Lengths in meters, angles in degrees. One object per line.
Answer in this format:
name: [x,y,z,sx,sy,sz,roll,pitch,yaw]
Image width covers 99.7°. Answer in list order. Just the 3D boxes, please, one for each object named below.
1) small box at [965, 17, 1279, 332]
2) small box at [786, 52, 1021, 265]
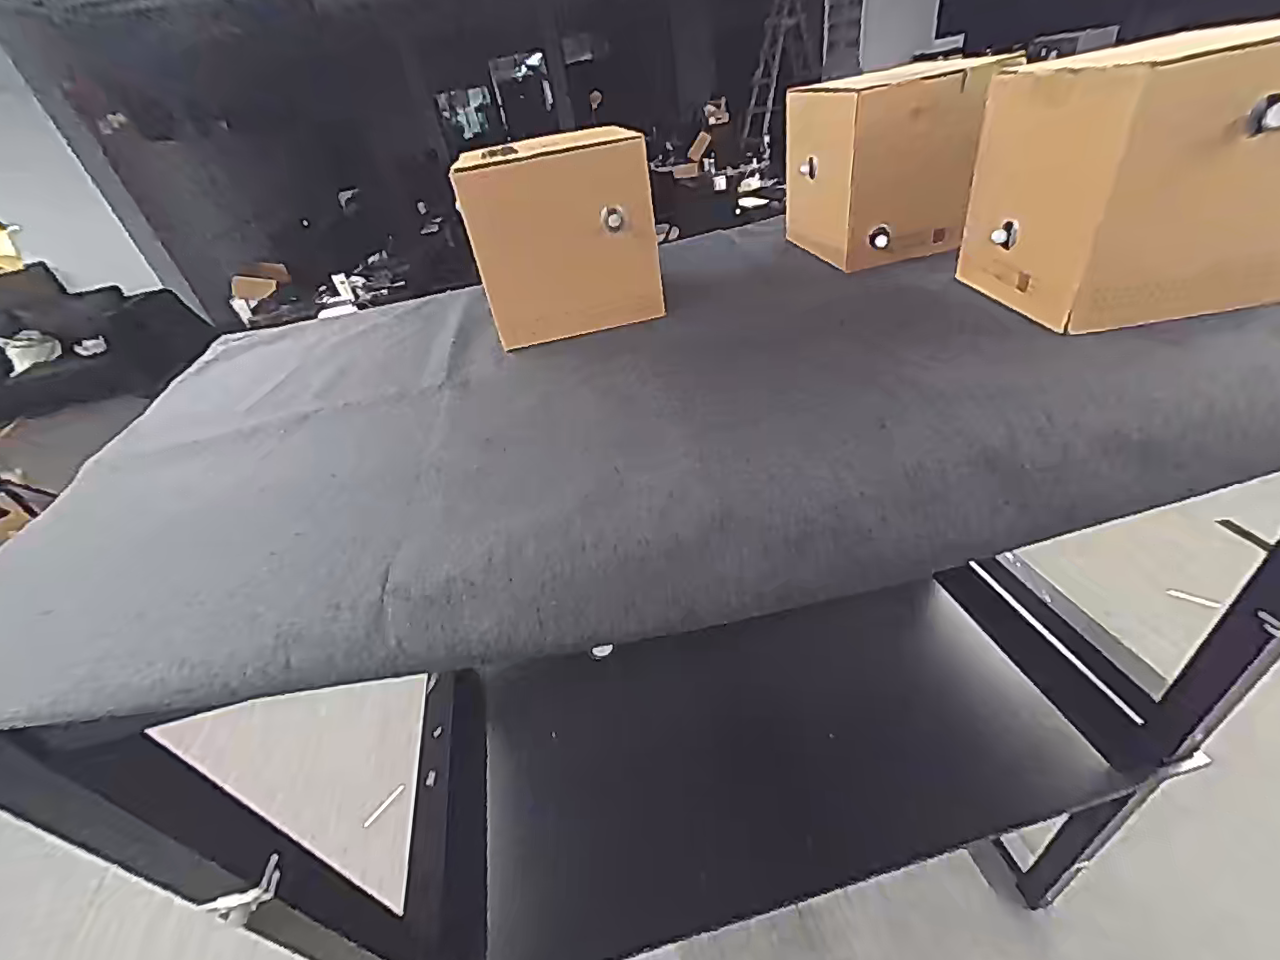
small box: [0.385,-0.230,0.412,0.179,0.176,0.168,-9,35,5]
small box: [0.276,-0.355,0.610,0.168,0.176,0.179,-13,35,-2]
